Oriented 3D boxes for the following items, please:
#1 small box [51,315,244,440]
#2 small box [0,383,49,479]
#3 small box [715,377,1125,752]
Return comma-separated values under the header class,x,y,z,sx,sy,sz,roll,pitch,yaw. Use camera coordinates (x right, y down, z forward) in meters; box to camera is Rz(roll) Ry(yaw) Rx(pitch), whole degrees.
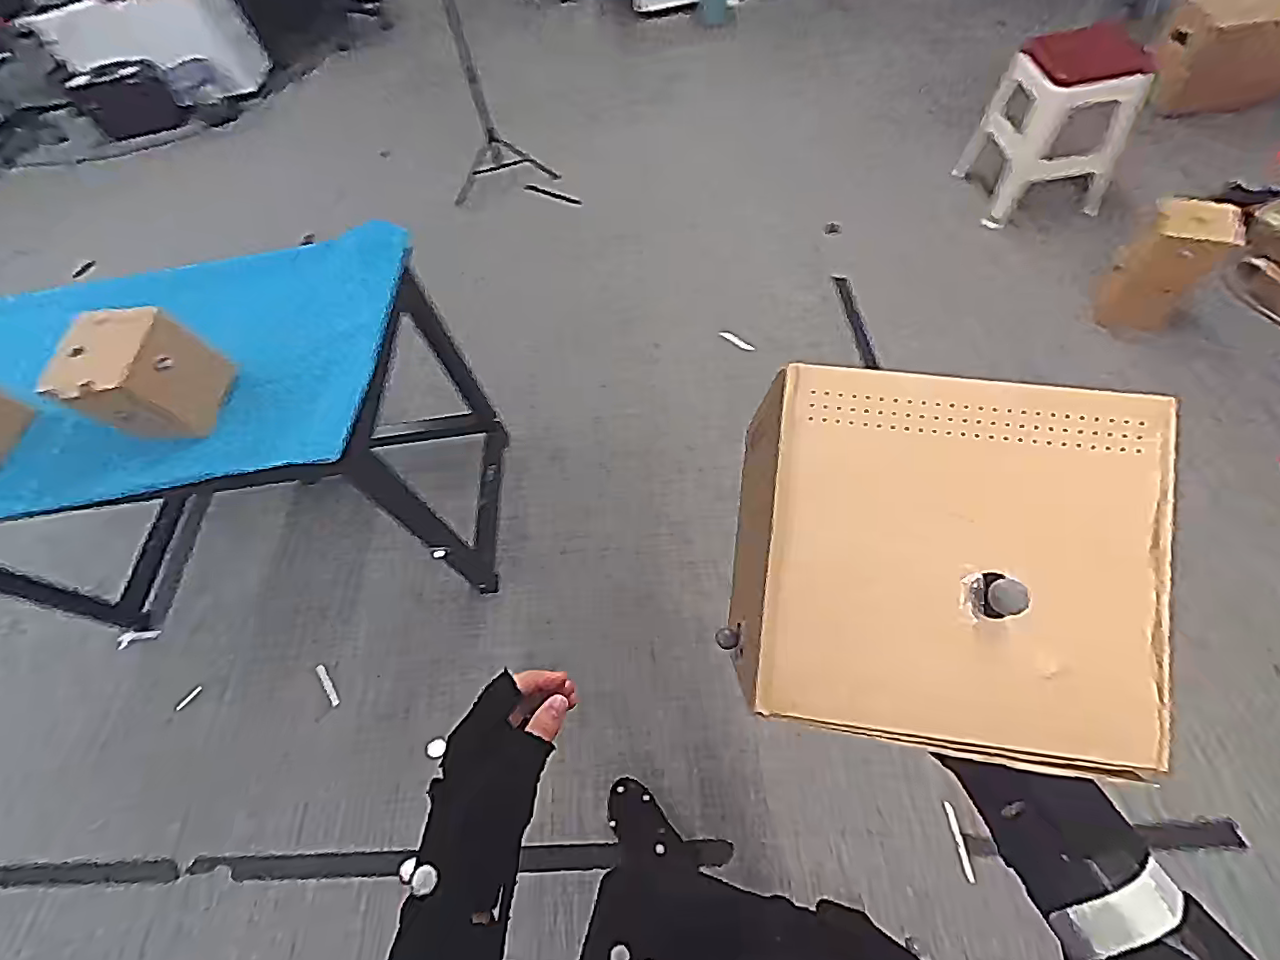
class,x,y,z,sx,sy,sz,roll,pitch,yaw
small box,-0.889,-0.189,0.997,0.168,0.179,0.176,0,67,9
small box,-1.338,-0.109,1.039,0.168,0.176,0.179,-3,60,7
small box,0.144,0.041,0.333,0.179,0.168,0.176,5,83,5
